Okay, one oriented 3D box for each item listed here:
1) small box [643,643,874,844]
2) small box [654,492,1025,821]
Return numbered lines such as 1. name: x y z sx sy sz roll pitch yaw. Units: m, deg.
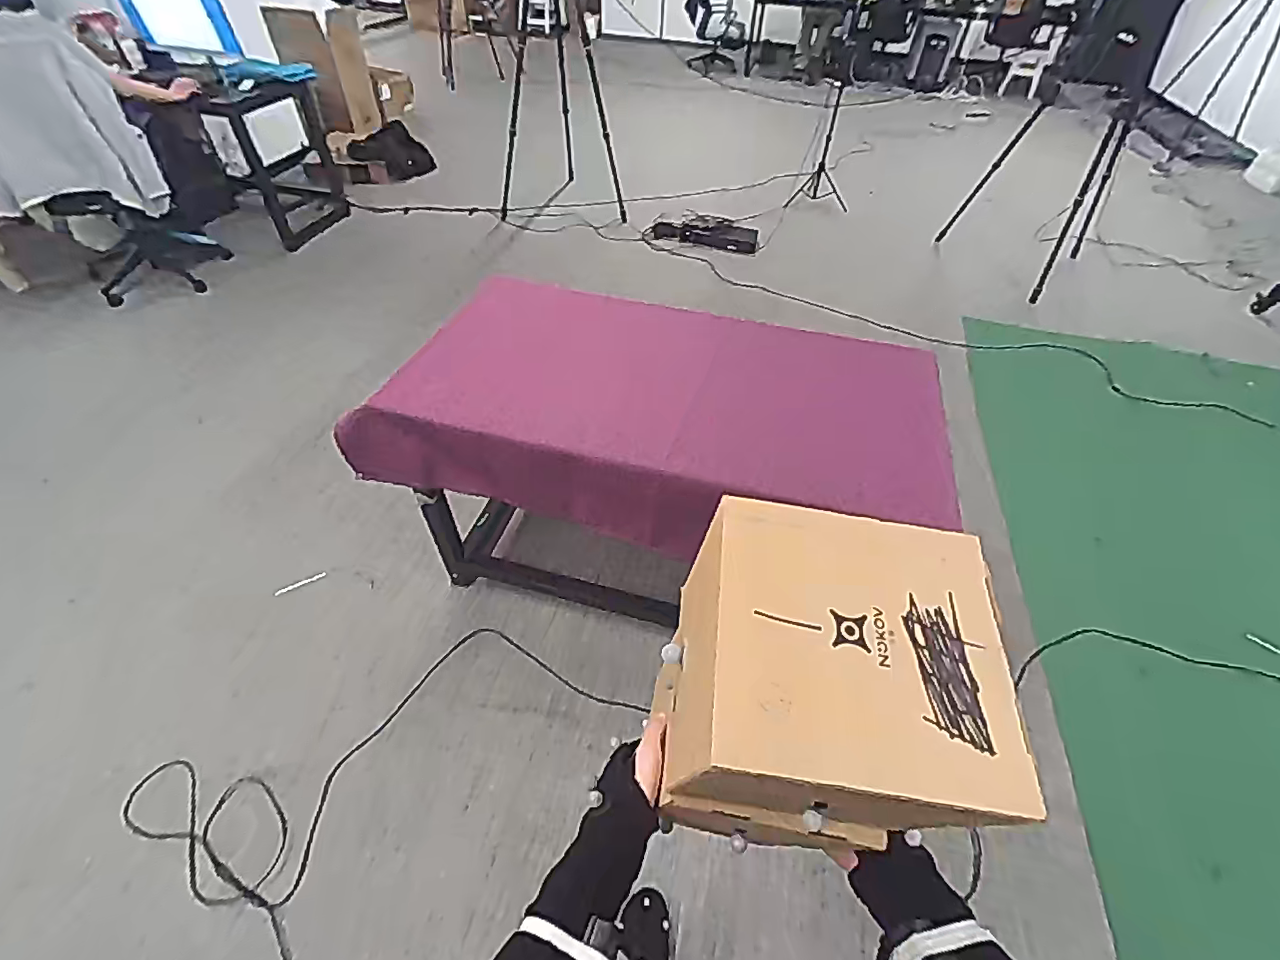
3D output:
1. small box: 0.102 0.228 0.517 0.168 0.176 0.179 12 56 2
2. small box: 0.115 0.133 0.383 0.179 0.176 0.168 10 55 0
